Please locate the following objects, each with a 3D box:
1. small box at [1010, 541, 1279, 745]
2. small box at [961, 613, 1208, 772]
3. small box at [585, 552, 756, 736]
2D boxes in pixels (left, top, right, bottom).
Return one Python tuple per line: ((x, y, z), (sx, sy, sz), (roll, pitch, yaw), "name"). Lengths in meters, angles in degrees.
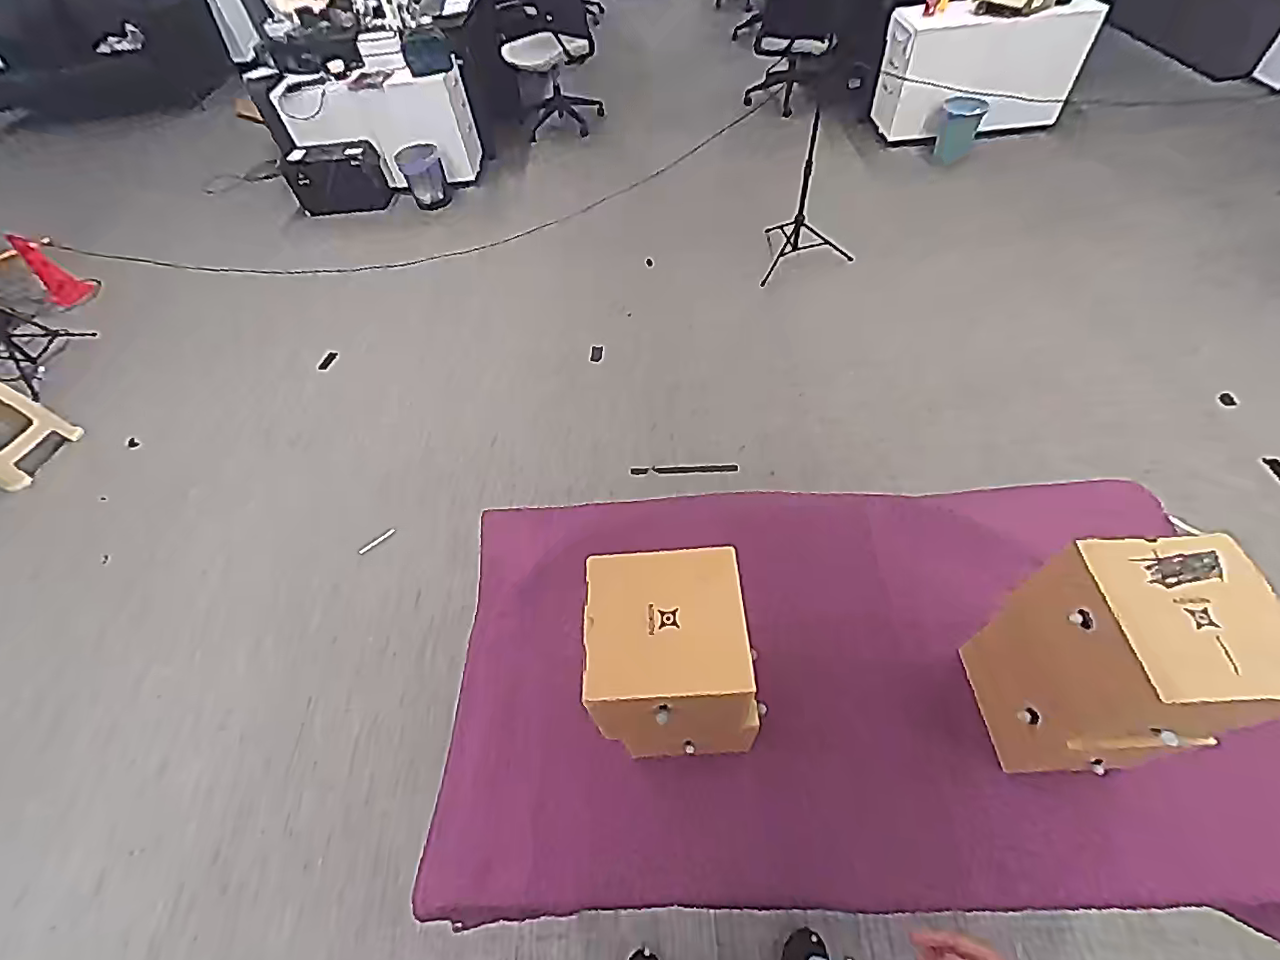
((0.565, 0.187, 0.611), (0.168, 0.176, 0.179), (-3, 54, 4), "small box")
((0.577, 0.292, 0.737), (0.168, 0.176, 0.179), (-3, 53, 3), "small box")
((0.035, 0.202, 0.652), (0.179, 0.176, 0.168), (-5, 54, 4), "small box")
